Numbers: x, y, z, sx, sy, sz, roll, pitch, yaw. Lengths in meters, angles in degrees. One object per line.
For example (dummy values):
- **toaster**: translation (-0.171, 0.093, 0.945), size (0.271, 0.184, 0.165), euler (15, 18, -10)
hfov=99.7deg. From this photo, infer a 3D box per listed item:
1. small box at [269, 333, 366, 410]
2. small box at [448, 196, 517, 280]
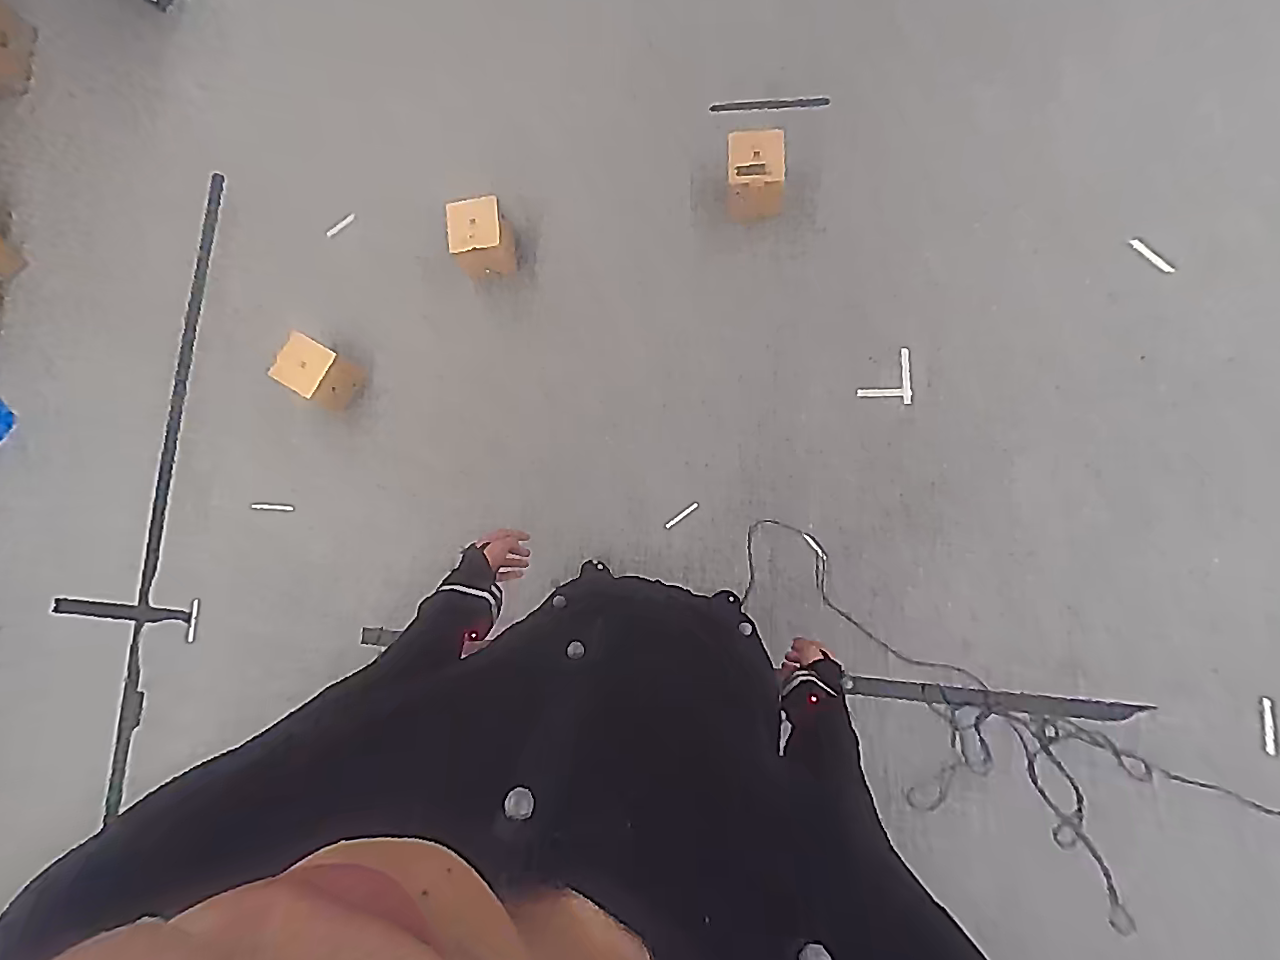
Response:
- **small box**: translation (-1.036, -0.344, 1.756), size (0.179, 0.176, 0.168), euler (29, 86, 10)
- **small box**: translation (-0.510, -0.782, 1.760), size (0.168, 0.176, 0.179), euler (-7, 82, 5)
